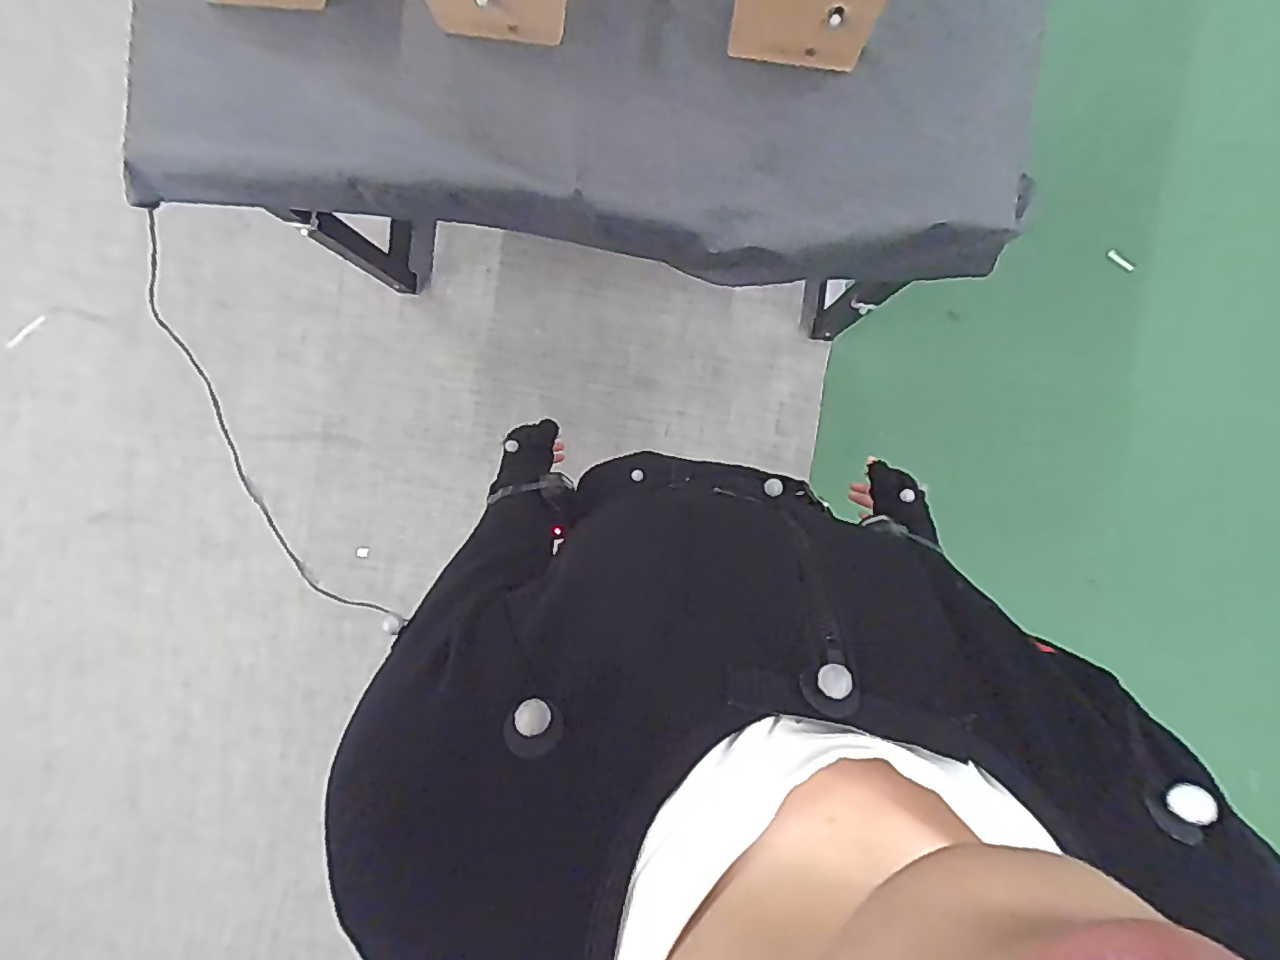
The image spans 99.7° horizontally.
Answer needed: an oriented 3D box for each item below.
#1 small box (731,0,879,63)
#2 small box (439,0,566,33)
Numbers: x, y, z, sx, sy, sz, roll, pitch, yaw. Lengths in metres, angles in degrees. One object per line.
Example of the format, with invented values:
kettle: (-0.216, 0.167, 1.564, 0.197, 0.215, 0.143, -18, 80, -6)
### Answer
small box: (0.205, -0.632, 0.623, 0.168, 0.176, 0.179, 9, 92, 1)
small box: (-0.175, -0.678, 0.635, 0.168, 0.176, 0.179, 8, 93, 2)
